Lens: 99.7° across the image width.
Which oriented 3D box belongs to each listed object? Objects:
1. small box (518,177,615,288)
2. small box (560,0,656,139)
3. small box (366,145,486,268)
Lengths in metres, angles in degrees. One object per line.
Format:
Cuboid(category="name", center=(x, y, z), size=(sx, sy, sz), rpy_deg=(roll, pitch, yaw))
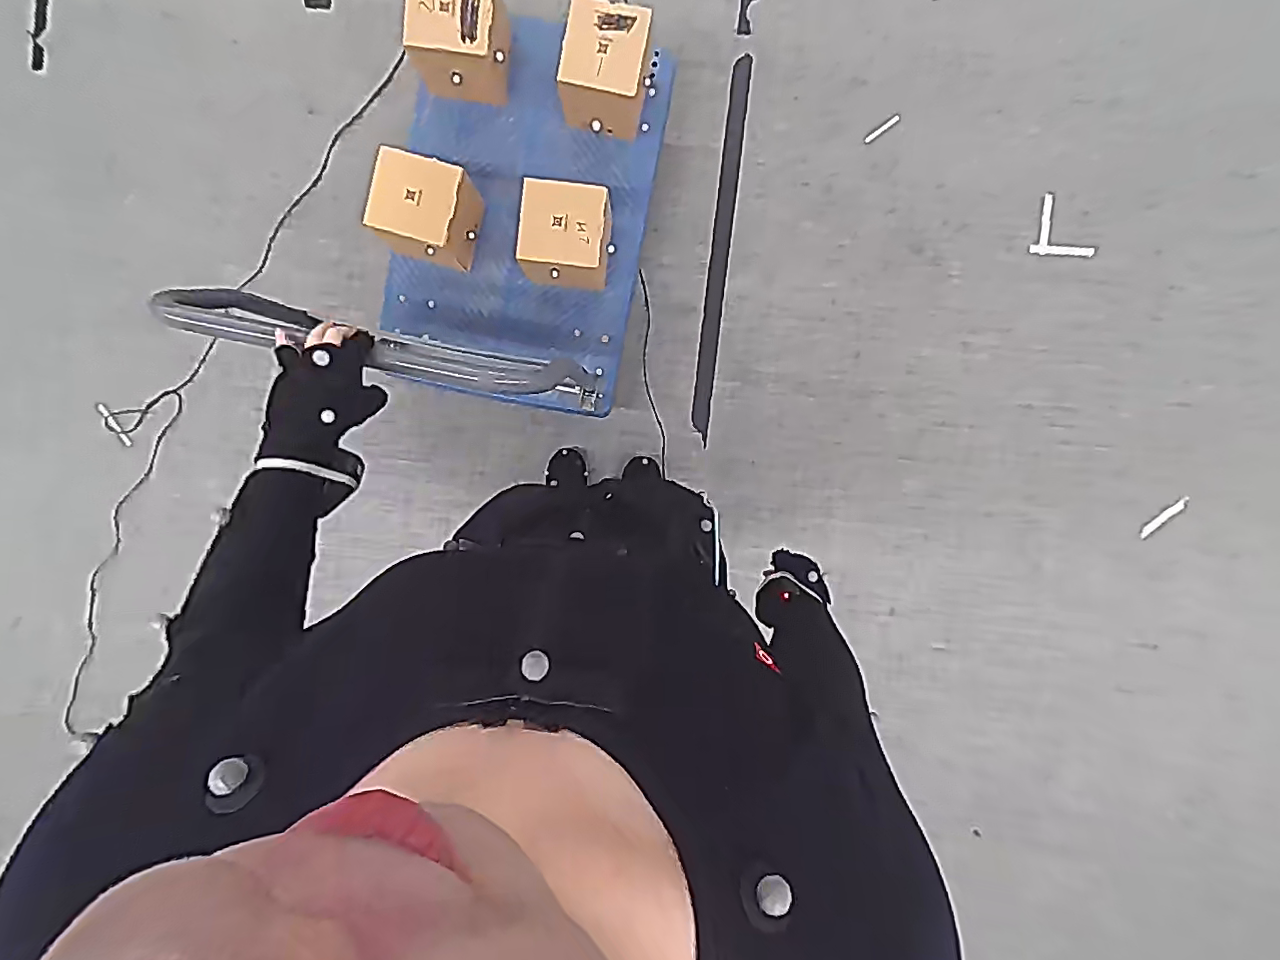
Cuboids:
Cuboid(category="small box", center=(-0.155, -0.535, 1.189), size=(0.179, 0.176, 0.168), rpy_deg=(7, 94, 0))
Cuboid(category="small box", center=(-0.066, -0.884, 1.166), size=(0.168, 0.176, 0.179), rpy_deg=(12, 95, -1))
Cuboid(category="small box", center=(-0.461, -0.588, 1.187), size=(0.179, 0.176, 0.168), rpy_deg=(15, 93, -3))
